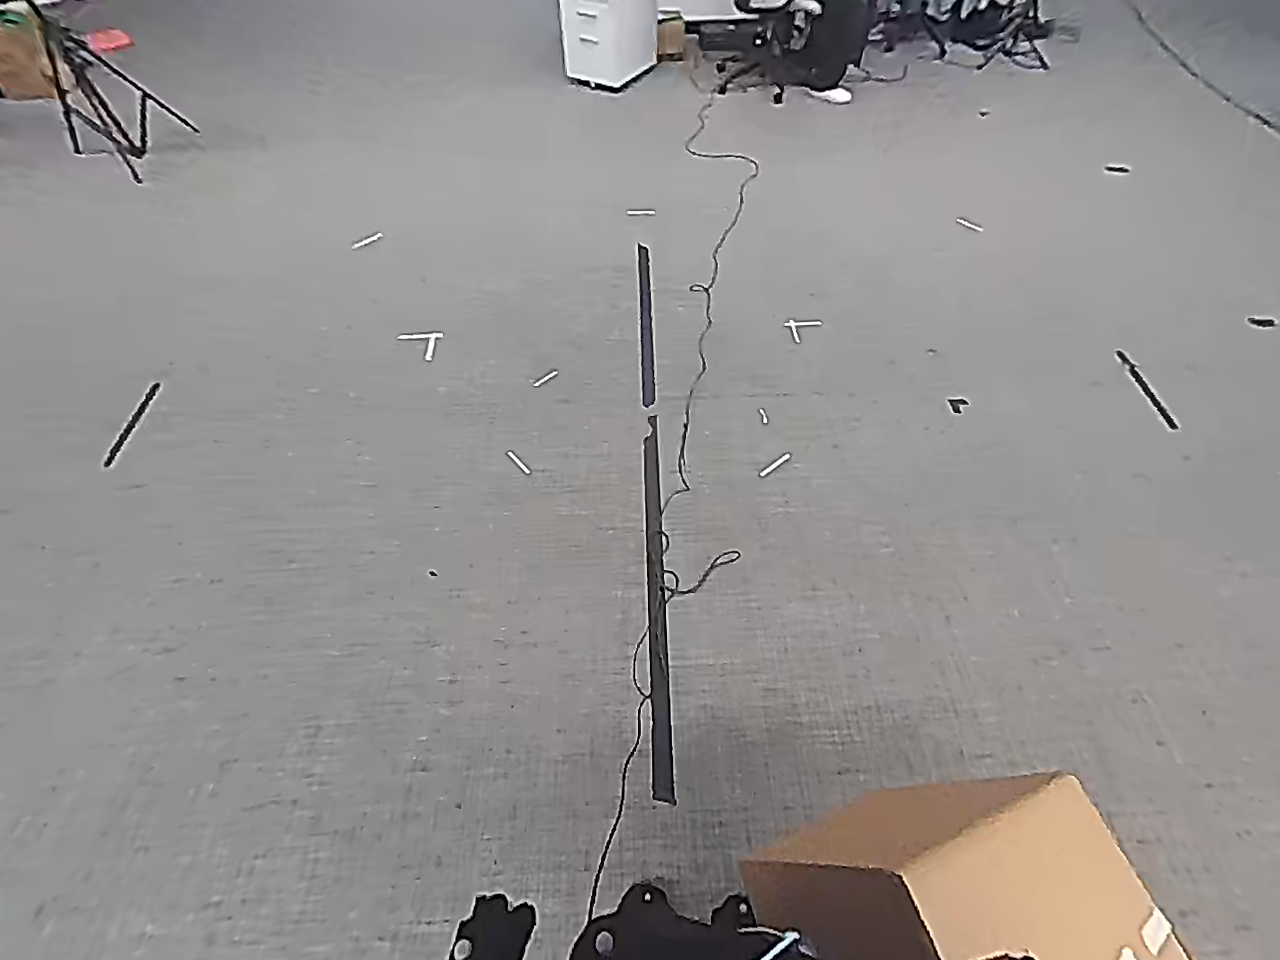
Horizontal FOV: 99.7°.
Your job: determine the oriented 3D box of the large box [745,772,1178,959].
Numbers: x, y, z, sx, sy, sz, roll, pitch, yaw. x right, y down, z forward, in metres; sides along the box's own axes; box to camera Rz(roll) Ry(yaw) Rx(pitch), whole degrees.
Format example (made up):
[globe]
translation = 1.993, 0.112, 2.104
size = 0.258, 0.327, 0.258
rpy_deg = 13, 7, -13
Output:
[large box]
translation = 0.410, 0.632, 0.732
size = 0.320, 0.408, 0.320
rpy_deg = -9, 61, -23
